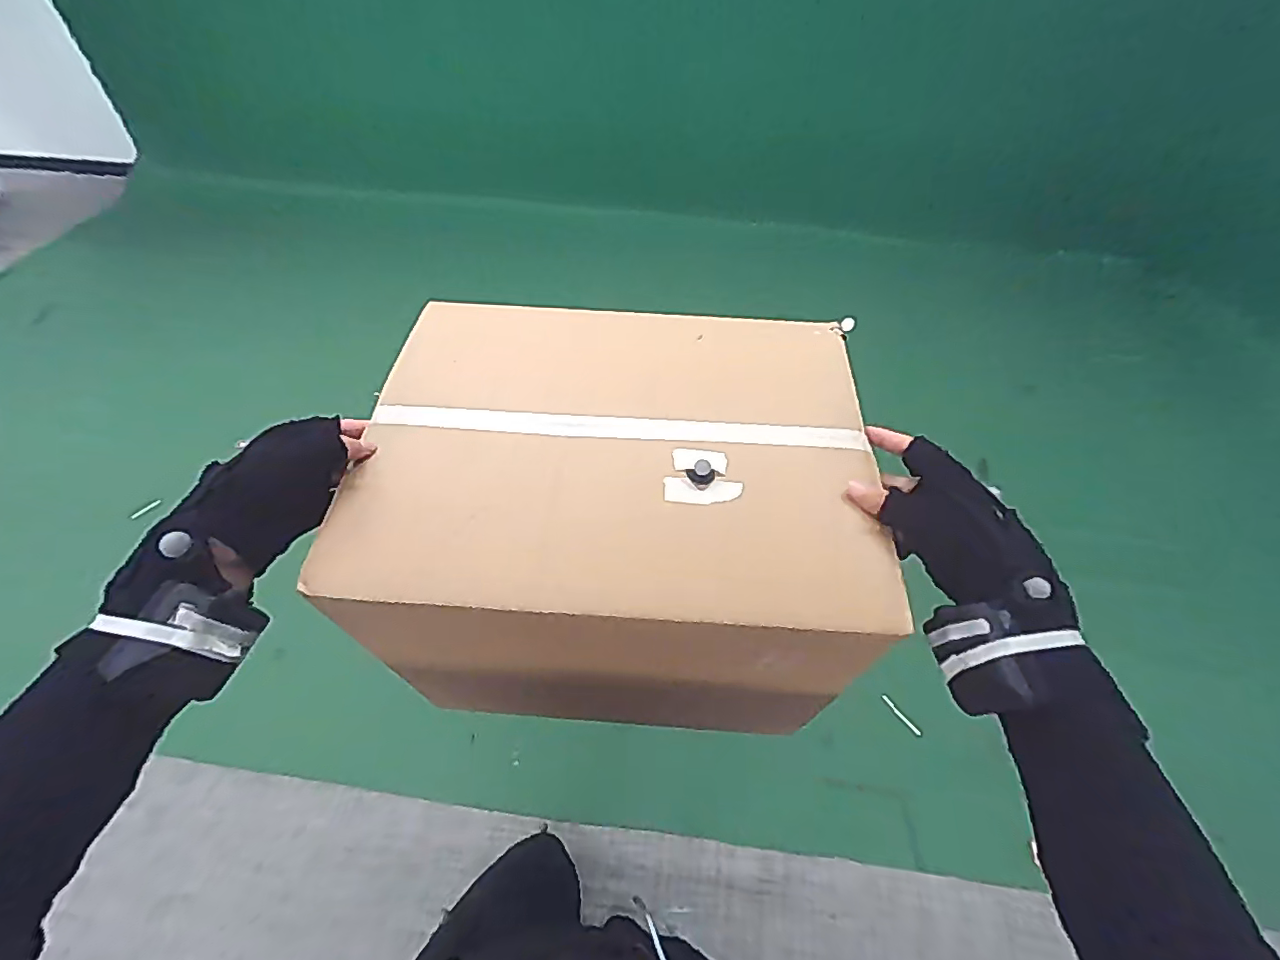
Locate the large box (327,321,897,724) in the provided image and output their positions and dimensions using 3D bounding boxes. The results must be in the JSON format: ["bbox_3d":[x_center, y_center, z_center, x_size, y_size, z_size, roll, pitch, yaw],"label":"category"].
[{"bbox_3d":[-0.017,0.055,0.577,0.408,0.320,0.320,3,54,1],"label":"large box"}]
